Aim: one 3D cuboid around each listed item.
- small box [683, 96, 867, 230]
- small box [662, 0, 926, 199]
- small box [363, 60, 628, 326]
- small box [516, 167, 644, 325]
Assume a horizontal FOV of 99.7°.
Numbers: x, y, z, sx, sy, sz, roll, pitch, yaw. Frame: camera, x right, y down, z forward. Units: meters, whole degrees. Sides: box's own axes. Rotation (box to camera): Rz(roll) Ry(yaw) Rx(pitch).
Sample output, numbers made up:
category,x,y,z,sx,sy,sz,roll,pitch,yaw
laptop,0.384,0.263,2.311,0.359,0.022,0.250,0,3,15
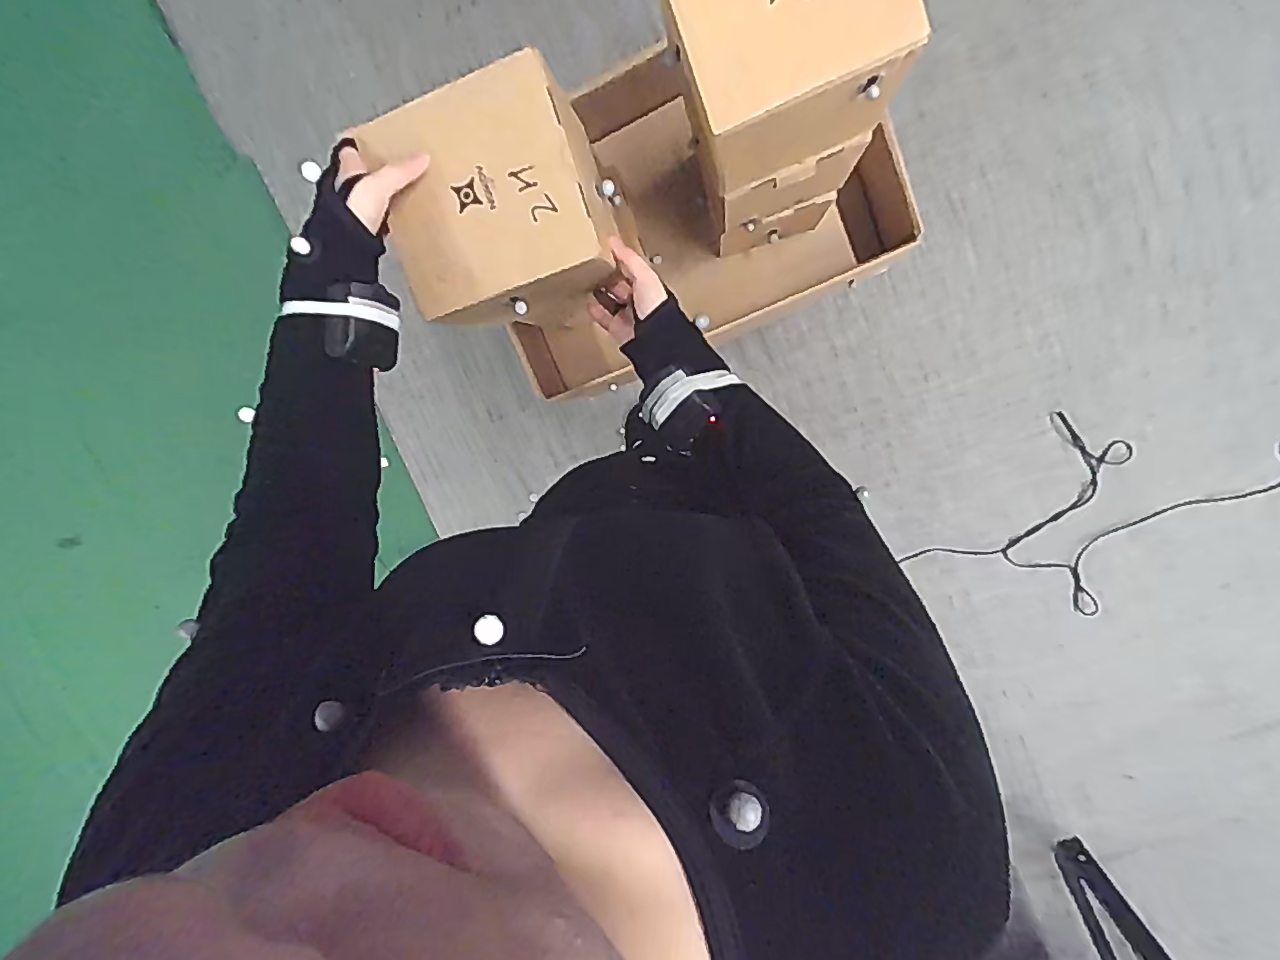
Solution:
category,x,y,z,sx,sy,sz,roll,pitch,yaw
small box,0.155,-0.426,0.659,0.168,0.176,0.179,-18,98,11
small box,0.127,-0.394,0.502,0.179,0.176,0.168,-19,98,11
small box,-0.125,-0.259,0.541,0.179,0.176,0.168,-16,102,10
small box,-0.104,-0.316,0.718,0.168,0.176,0.179,-20,97,11
